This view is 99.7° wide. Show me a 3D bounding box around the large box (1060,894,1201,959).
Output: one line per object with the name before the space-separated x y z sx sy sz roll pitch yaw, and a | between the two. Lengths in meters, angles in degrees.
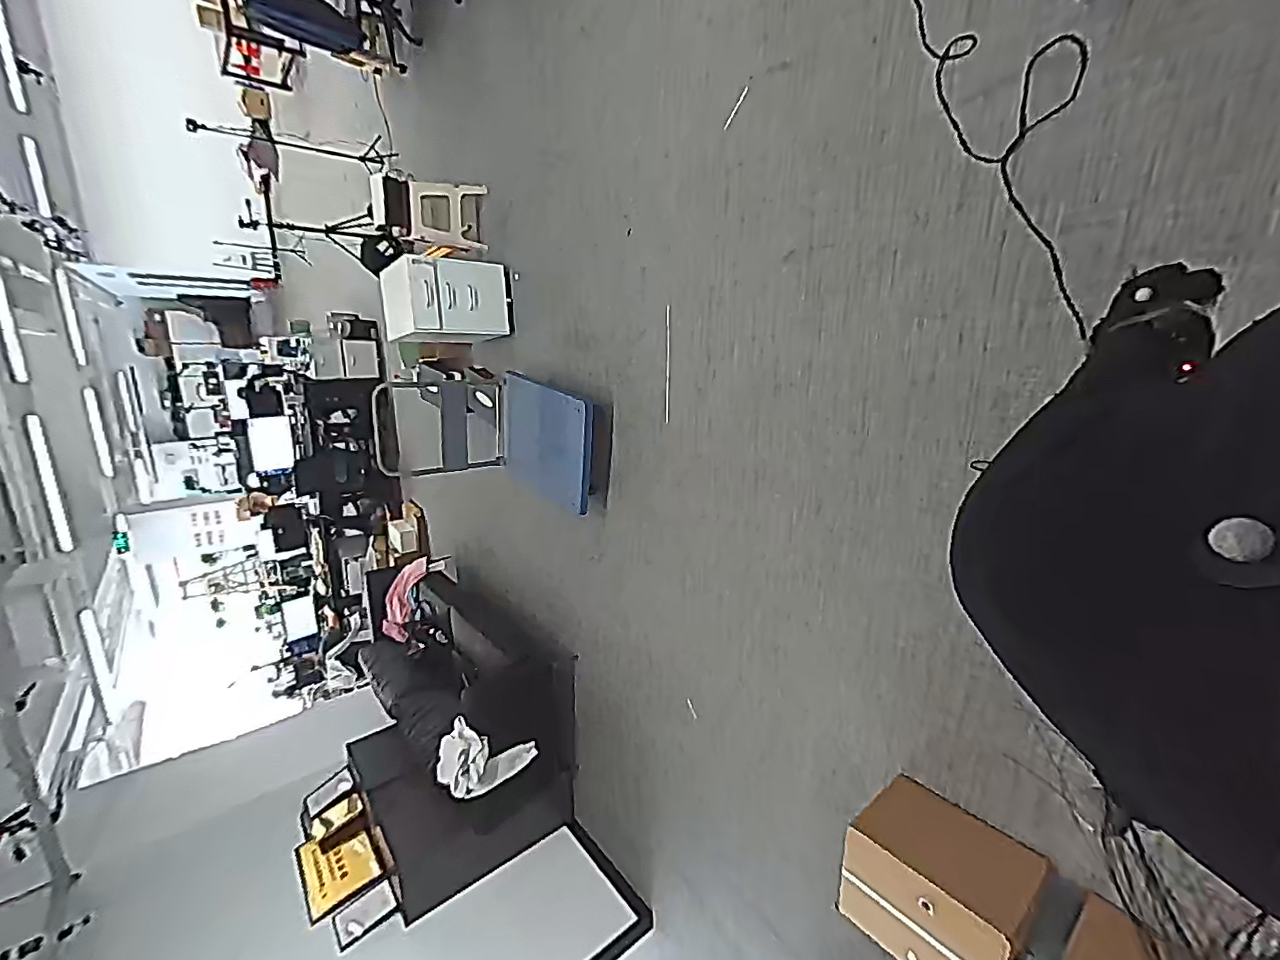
large box | 1.131 1.230 1.149 0.408 0.320 0.320 18 112 46
